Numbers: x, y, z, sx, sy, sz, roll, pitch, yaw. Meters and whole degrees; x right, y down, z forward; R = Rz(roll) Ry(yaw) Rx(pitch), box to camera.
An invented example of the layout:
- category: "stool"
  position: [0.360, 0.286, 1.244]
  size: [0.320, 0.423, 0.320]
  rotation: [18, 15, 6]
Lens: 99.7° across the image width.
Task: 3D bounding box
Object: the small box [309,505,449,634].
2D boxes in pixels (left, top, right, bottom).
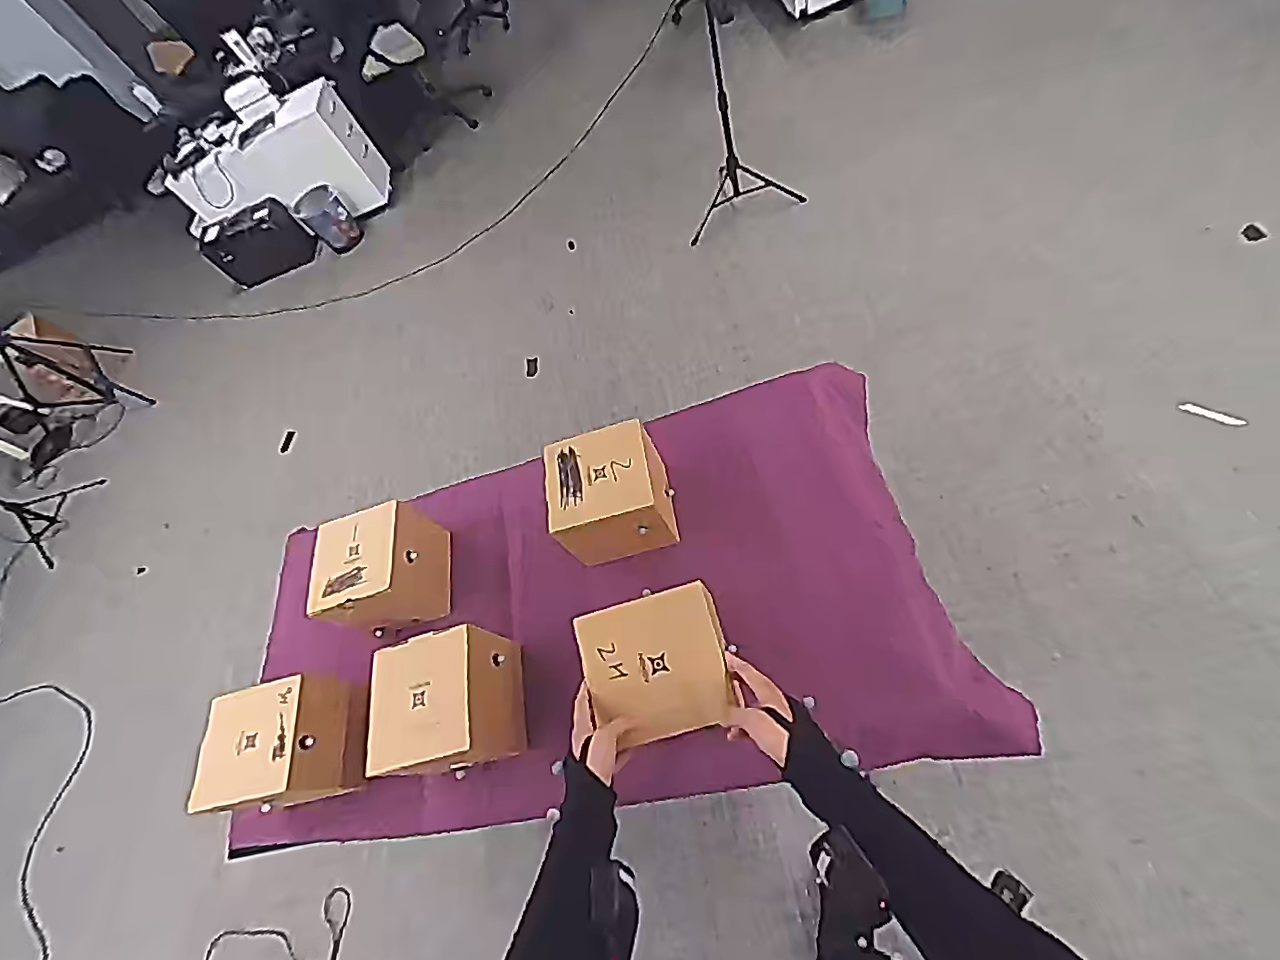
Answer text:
- category: "small box"
  position: [-0.474, 0.176, 1.006]
  size: [0.168, 0.176, 0.179]
  rotation: [-18, 58, 9]

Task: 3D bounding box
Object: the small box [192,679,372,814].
- category: "small box"
  position: [-0.572, 0.442, 0.893]
  size: [0.179, 0.176, 0.168]
  rotation: [-18, 59, 10]

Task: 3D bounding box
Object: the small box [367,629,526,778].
- category: "small box"
  position: [-0.294, 0.353, 0.846]
  size: [0.168, 0.176, 0.179]
  rotation: [-19, 60, 10]

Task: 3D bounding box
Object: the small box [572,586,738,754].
- category: "small box"
  position: [0.028, 0.255, 0.740]
  size: [0.179, 0.176, 0.168]
  rotation: [-18, 68, 6]
